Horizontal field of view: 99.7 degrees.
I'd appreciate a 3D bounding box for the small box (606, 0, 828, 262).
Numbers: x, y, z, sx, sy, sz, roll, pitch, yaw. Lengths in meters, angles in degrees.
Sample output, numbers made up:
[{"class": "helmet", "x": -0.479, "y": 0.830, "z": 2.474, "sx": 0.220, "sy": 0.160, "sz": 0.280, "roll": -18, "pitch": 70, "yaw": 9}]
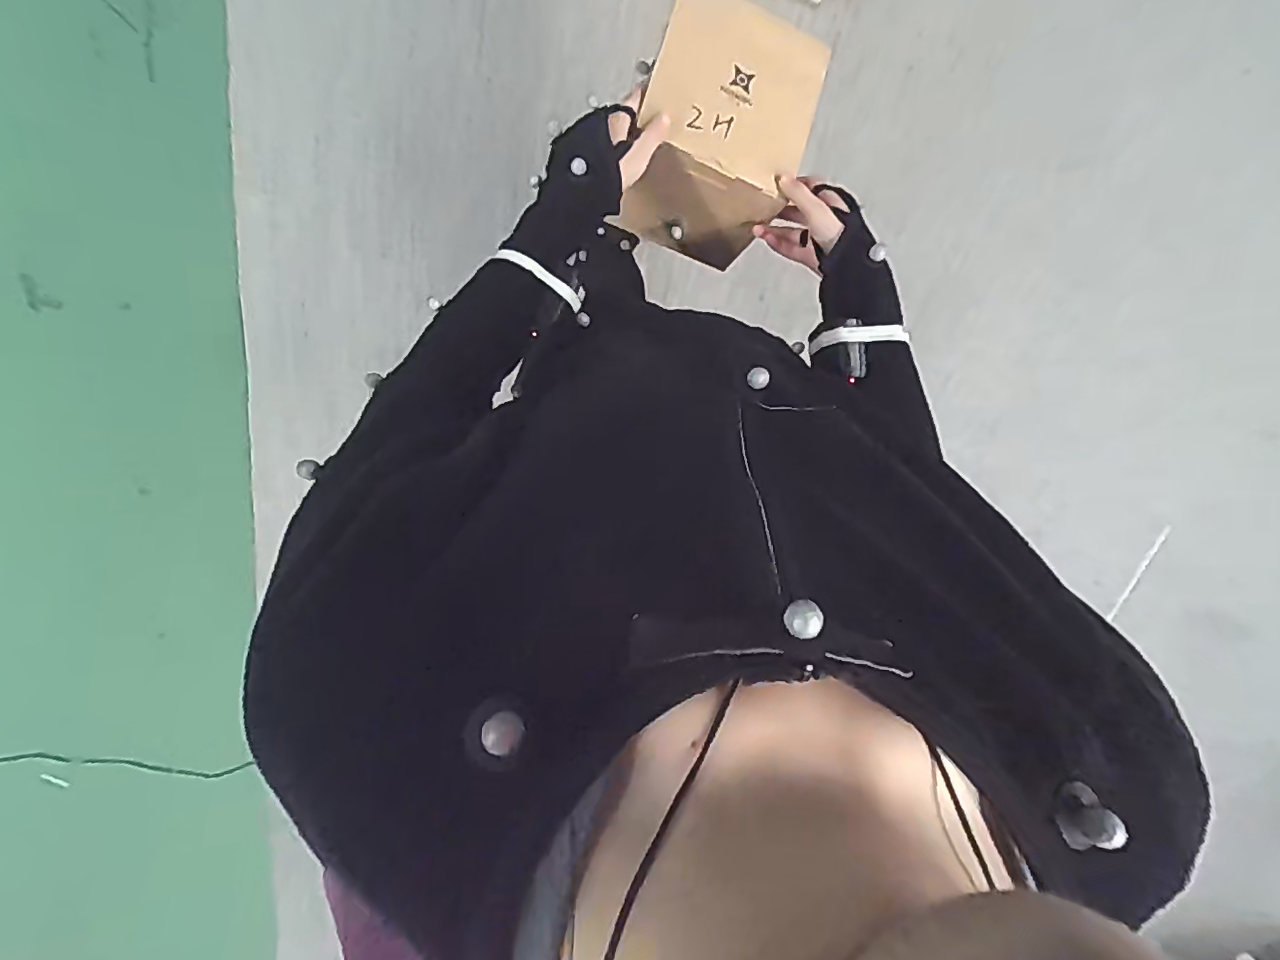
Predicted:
[{"class": "small box", "x": 0.072, "y": -0.380, "z": 0.597, "sx": 0.168, "sy": 0.176, "sz": 0.179, "roll": 19, "pitch": 84, "yaw": -12}]
